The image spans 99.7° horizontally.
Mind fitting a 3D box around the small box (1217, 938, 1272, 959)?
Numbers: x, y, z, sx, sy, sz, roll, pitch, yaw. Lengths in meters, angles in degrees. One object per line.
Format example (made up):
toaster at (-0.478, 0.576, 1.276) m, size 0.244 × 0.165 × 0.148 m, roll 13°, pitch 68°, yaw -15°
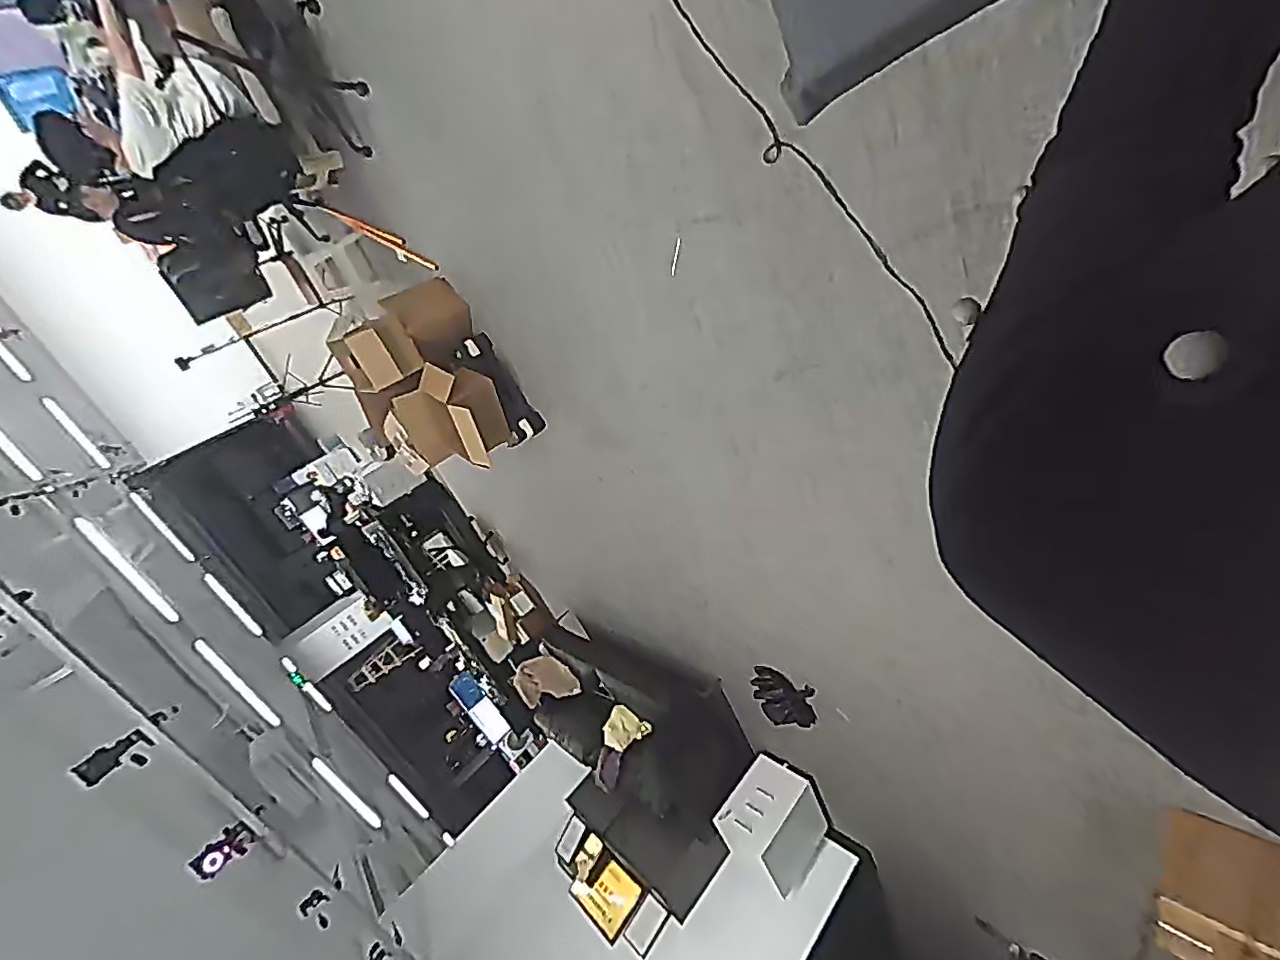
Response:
small box at (1.631, 1.366, 1.412) m, size 0.168 × 0.176 × 0.179 m, roll 0°, pitch 122°, yaw 54°
